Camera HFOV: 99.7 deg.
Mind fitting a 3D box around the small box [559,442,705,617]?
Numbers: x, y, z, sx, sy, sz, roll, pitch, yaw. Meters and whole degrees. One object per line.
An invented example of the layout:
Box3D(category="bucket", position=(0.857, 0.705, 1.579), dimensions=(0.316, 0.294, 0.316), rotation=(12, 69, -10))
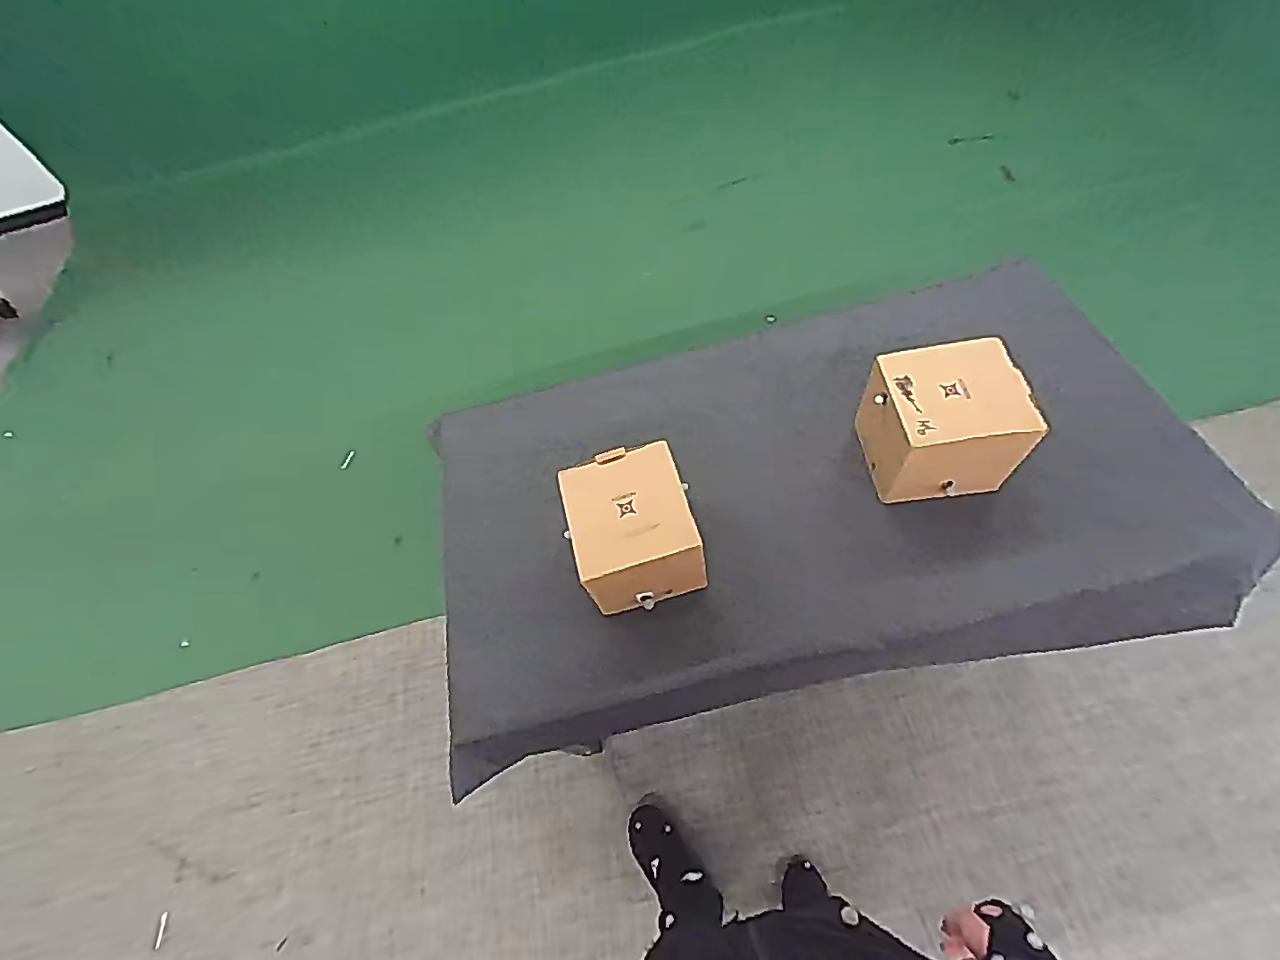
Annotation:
Box3D(category="small box", position=(-0.008, 0.078, 0.787), dimensions=(0.168, 0.176, 0.179), rotation=(-16, 59, 2))

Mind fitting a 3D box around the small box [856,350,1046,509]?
Box3D(category="small box", position=(0.451, -0.070, 0.818), dimensions=(0.179, 0.176, 0.168), rotation=(-7, 59, 5))
